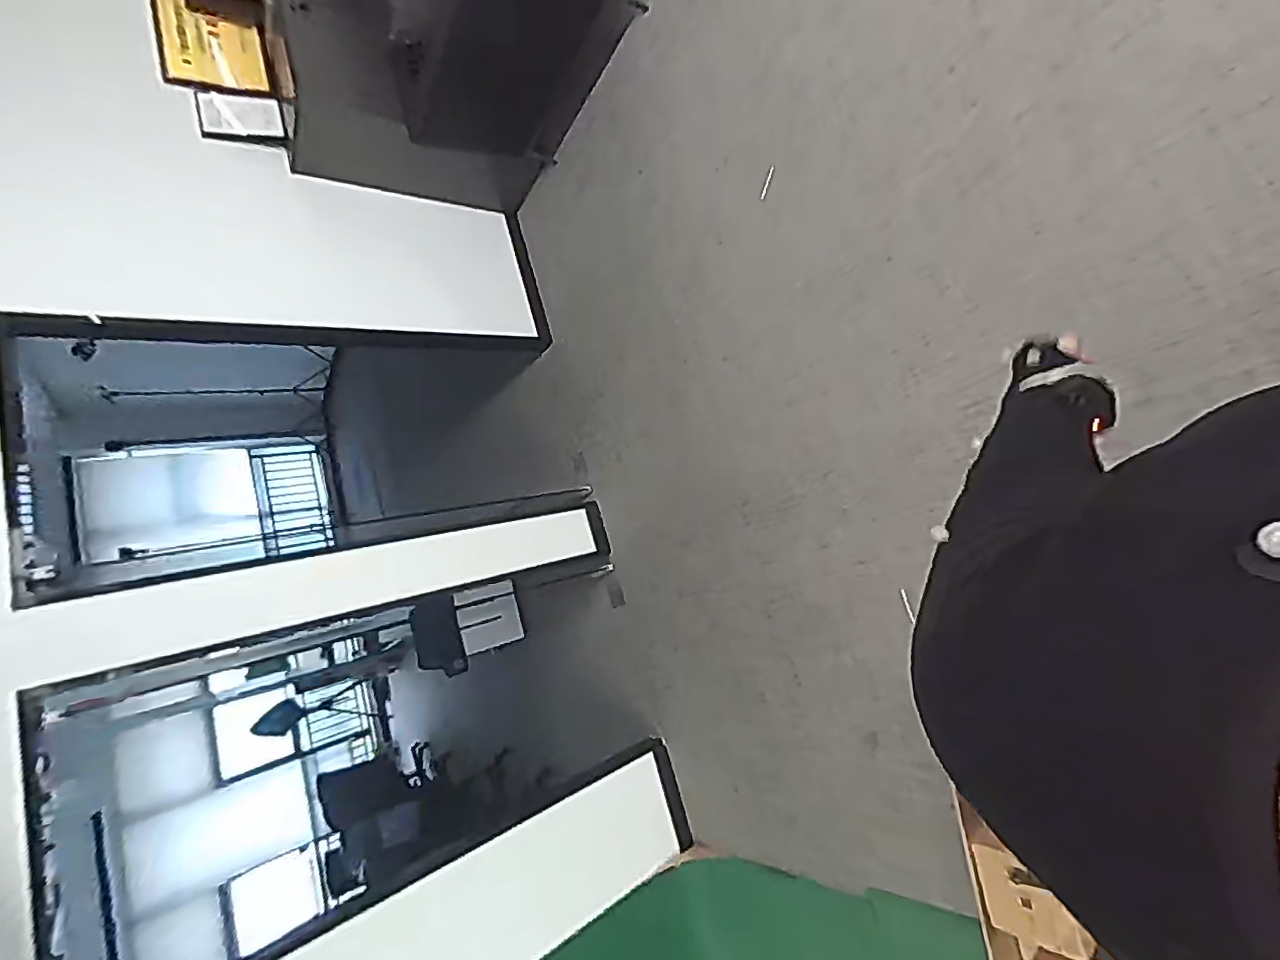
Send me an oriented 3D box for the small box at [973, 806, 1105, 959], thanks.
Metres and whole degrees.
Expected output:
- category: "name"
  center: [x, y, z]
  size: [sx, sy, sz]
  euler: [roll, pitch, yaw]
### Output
- category: "small box"
  center: [0.830, 0.822, 1.125]
  size: [0.168, 0.176, 0.179]
  euler: [-16, 85, 51]
